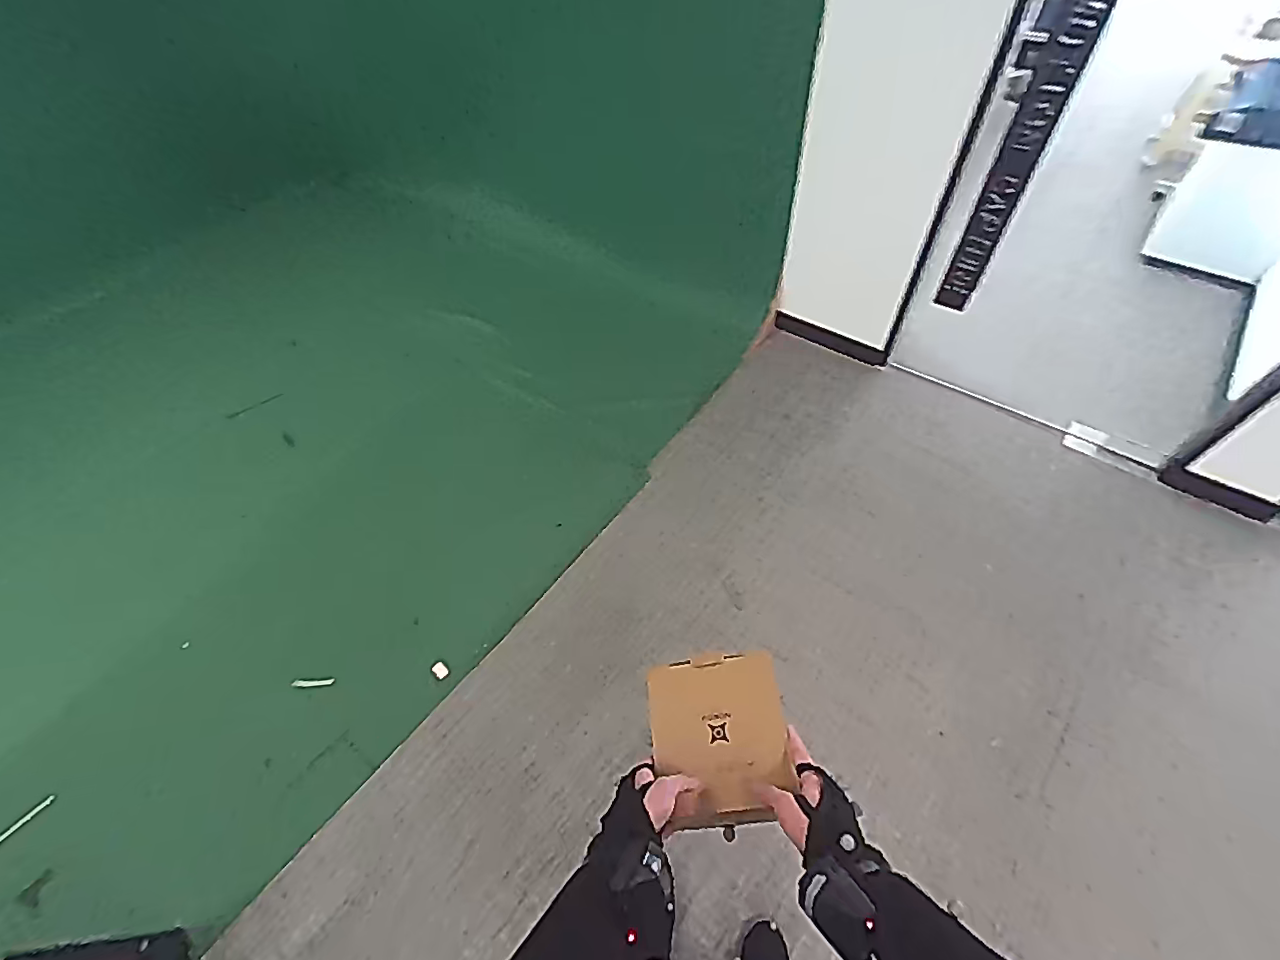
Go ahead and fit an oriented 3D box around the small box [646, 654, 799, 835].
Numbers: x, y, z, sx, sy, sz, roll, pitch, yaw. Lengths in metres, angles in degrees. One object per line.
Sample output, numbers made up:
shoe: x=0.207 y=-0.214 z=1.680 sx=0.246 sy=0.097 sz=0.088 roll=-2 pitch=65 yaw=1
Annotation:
small box: x=0.105 y=0.348 z=0.705 sx=0.168 sy=0.176 sz=0.179 roll=-9 pitch=52 yaw=8
